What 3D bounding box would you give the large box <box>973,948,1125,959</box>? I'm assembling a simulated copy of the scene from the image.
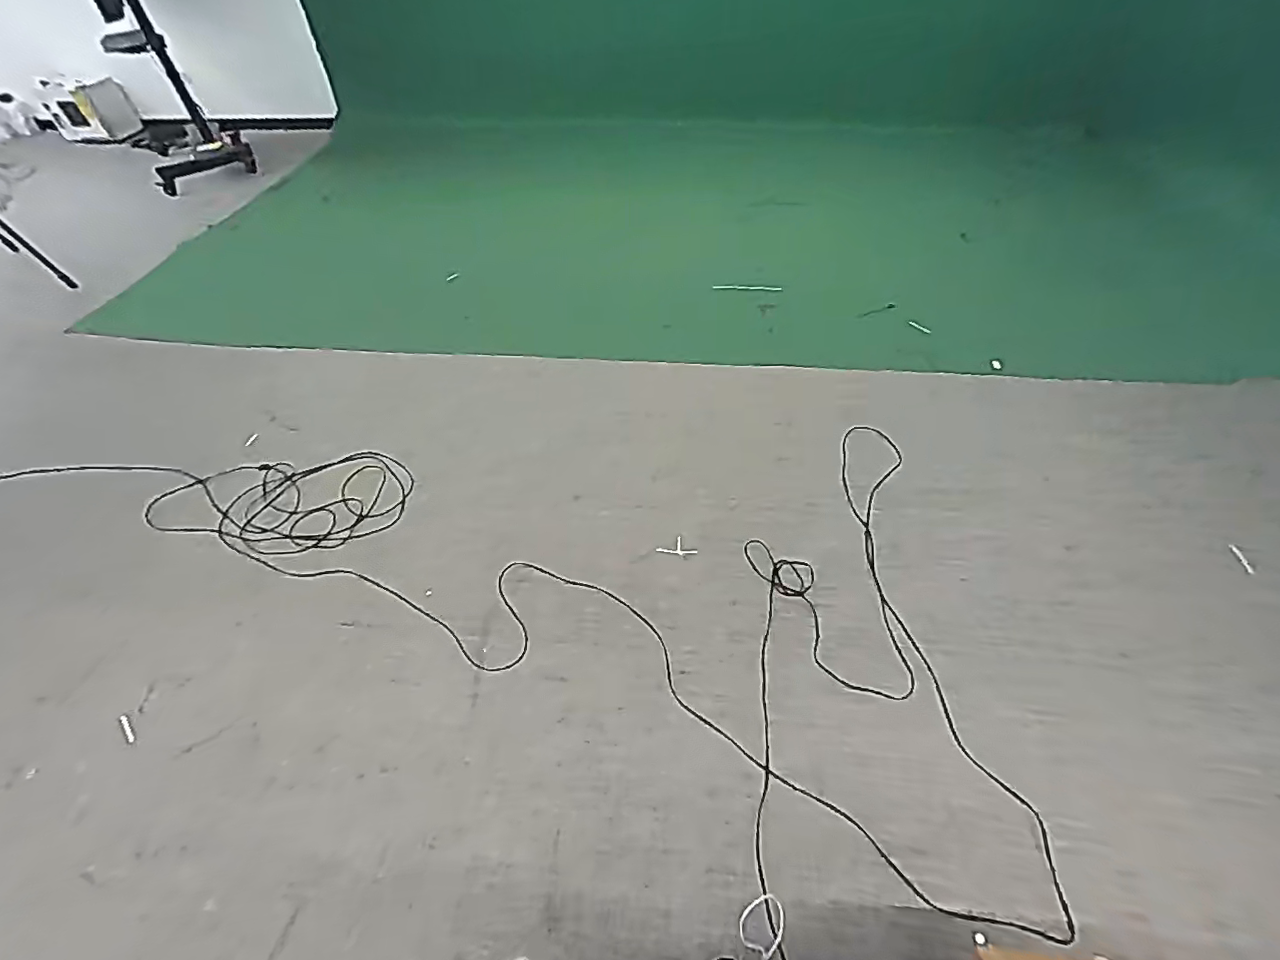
[{"bbox_3d":[0.595,0.779,0.531,0.320,0.408,0.320,0,79,10],"label":"large box"}]
